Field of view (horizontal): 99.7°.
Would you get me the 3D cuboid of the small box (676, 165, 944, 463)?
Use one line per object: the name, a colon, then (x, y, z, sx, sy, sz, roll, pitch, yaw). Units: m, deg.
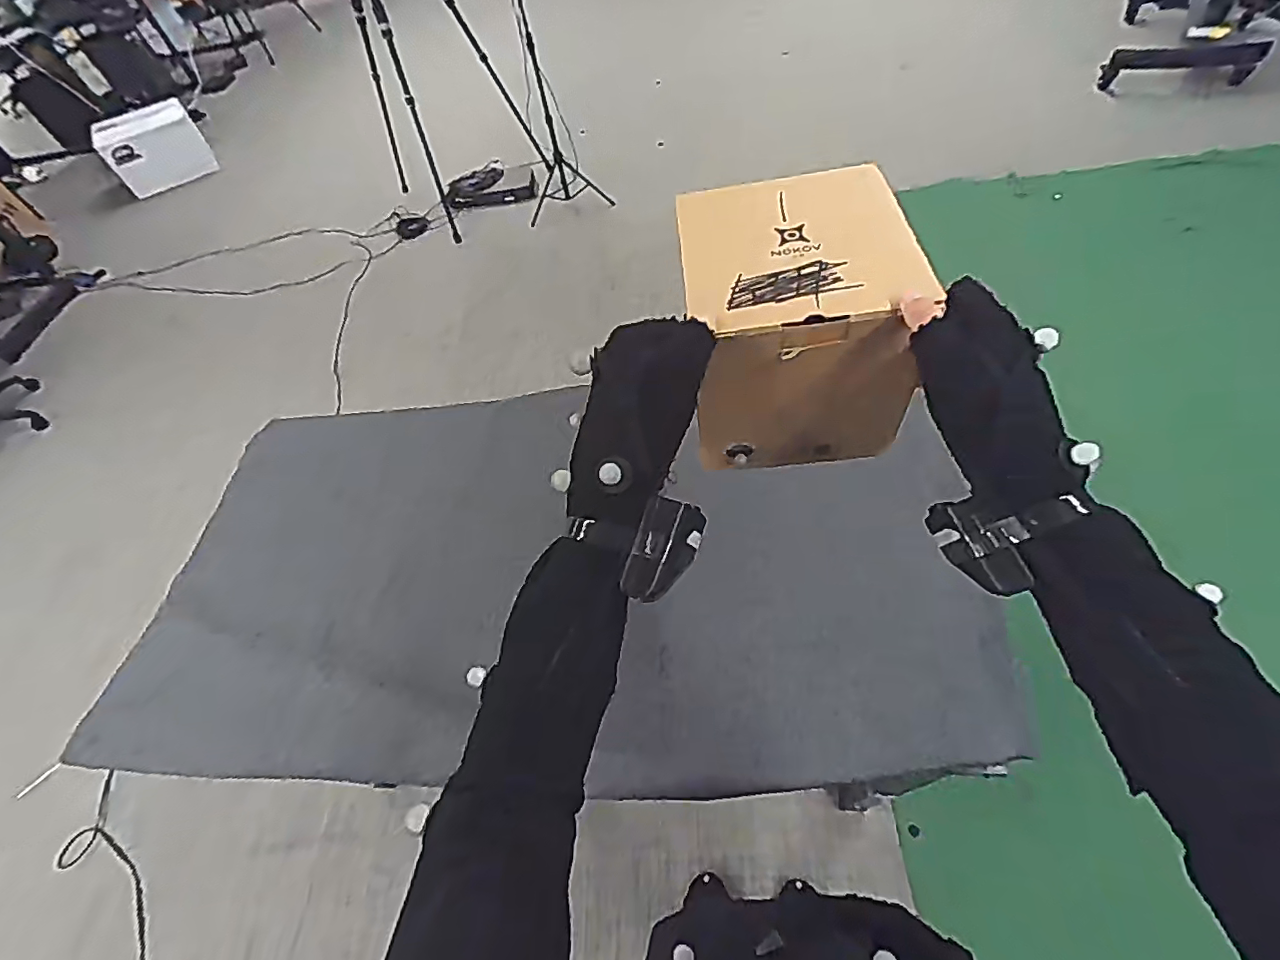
small box: (0.124, -0.127, 0.458, 0.168, 0.176, 0.179, -6, 55, 7)
